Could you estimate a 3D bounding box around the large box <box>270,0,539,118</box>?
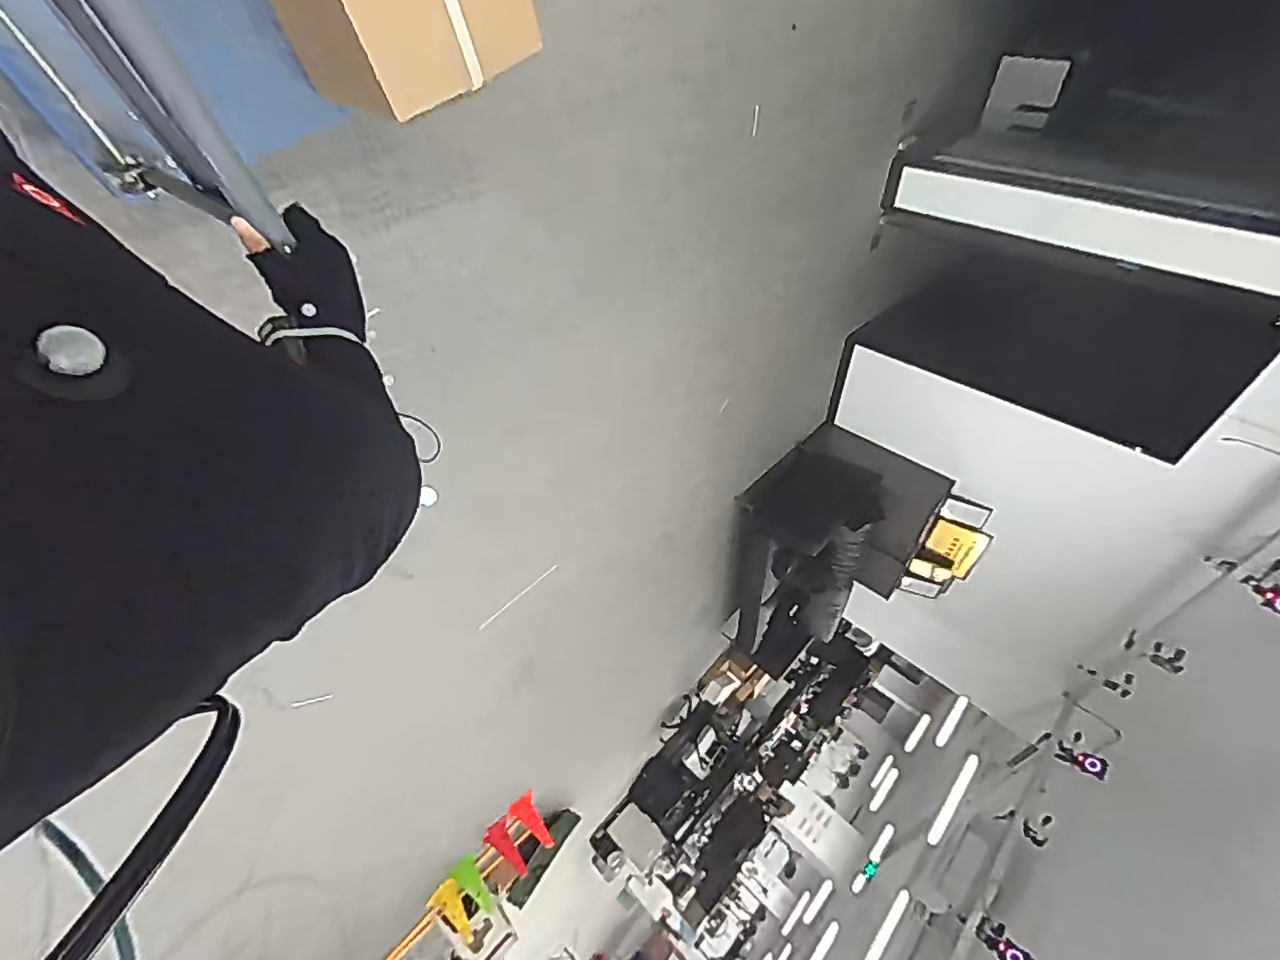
[{"bbox_3d":[-0.423,-0.860,0.834,0.320,0.320,0.408,-44,146,-20],"label":"large box"}]
